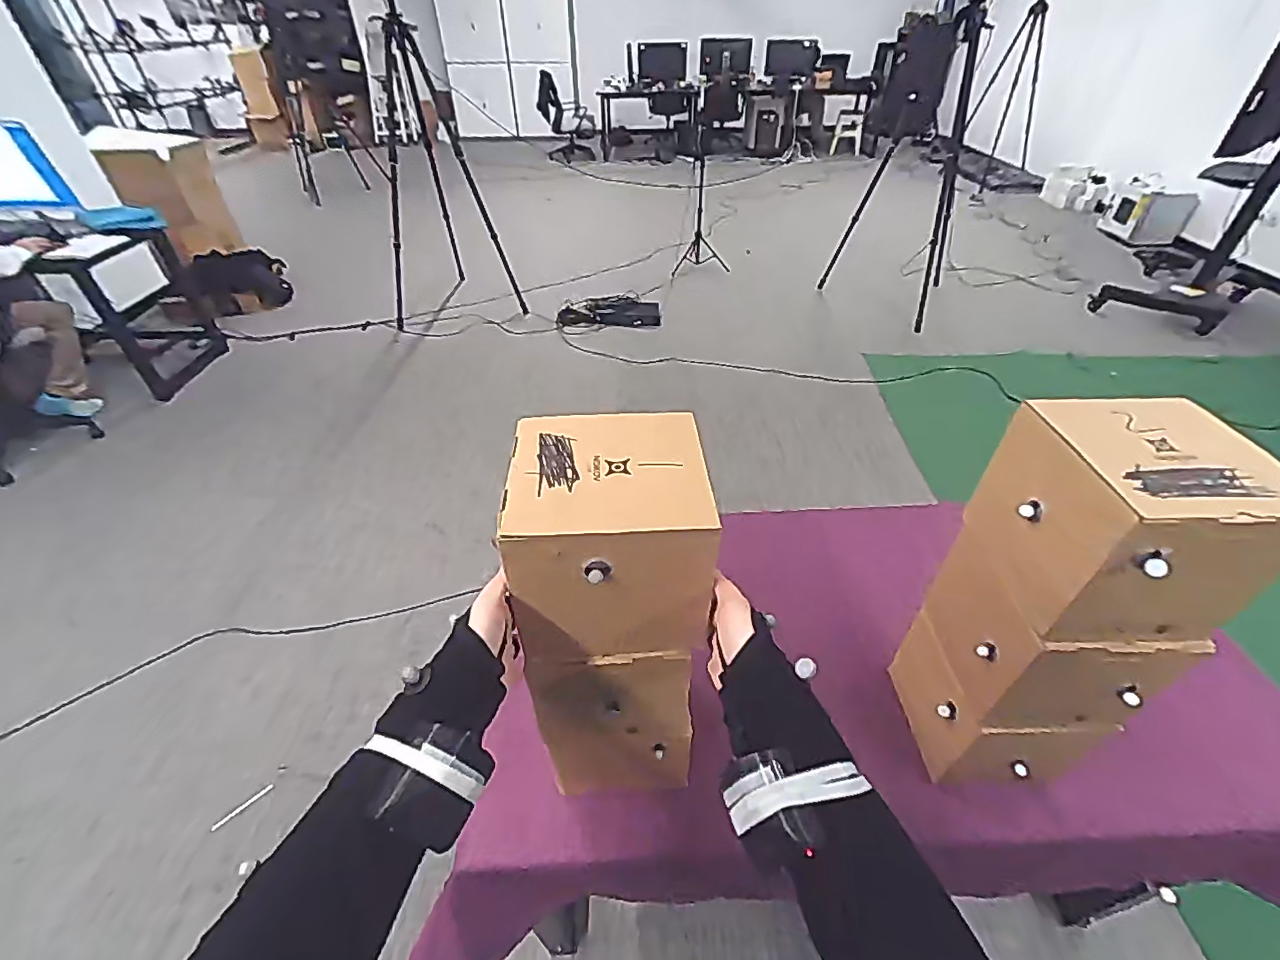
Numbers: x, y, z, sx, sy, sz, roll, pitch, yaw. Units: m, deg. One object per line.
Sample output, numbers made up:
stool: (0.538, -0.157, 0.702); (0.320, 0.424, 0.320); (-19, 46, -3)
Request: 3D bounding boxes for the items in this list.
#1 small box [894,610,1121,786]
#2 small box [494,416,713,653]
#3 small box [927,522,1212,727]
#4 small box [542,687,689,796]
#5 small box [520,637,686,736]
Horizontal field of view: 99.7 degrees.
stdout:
small box: (0.473, 0.295, 0.733); (0.168, 0.176, 0.179); (-1, 40, 0)
small box: (-0.031, 0.053, 0.532); (0.179, 0.176, 0.168); (-2, 40, -3)
small box: (0.469, 0.168, 0.630); (0.168, 0.176, 0.179); (0, 40, 2)
small box: (-0.030, 0.310, 0.738); (0.179, 0.176, 0.168); (-3, 40, -2)
small box: (-0.038, 0.182, 0.634); (0.168, 0.176, 0.179); (-3, 40, -3)
